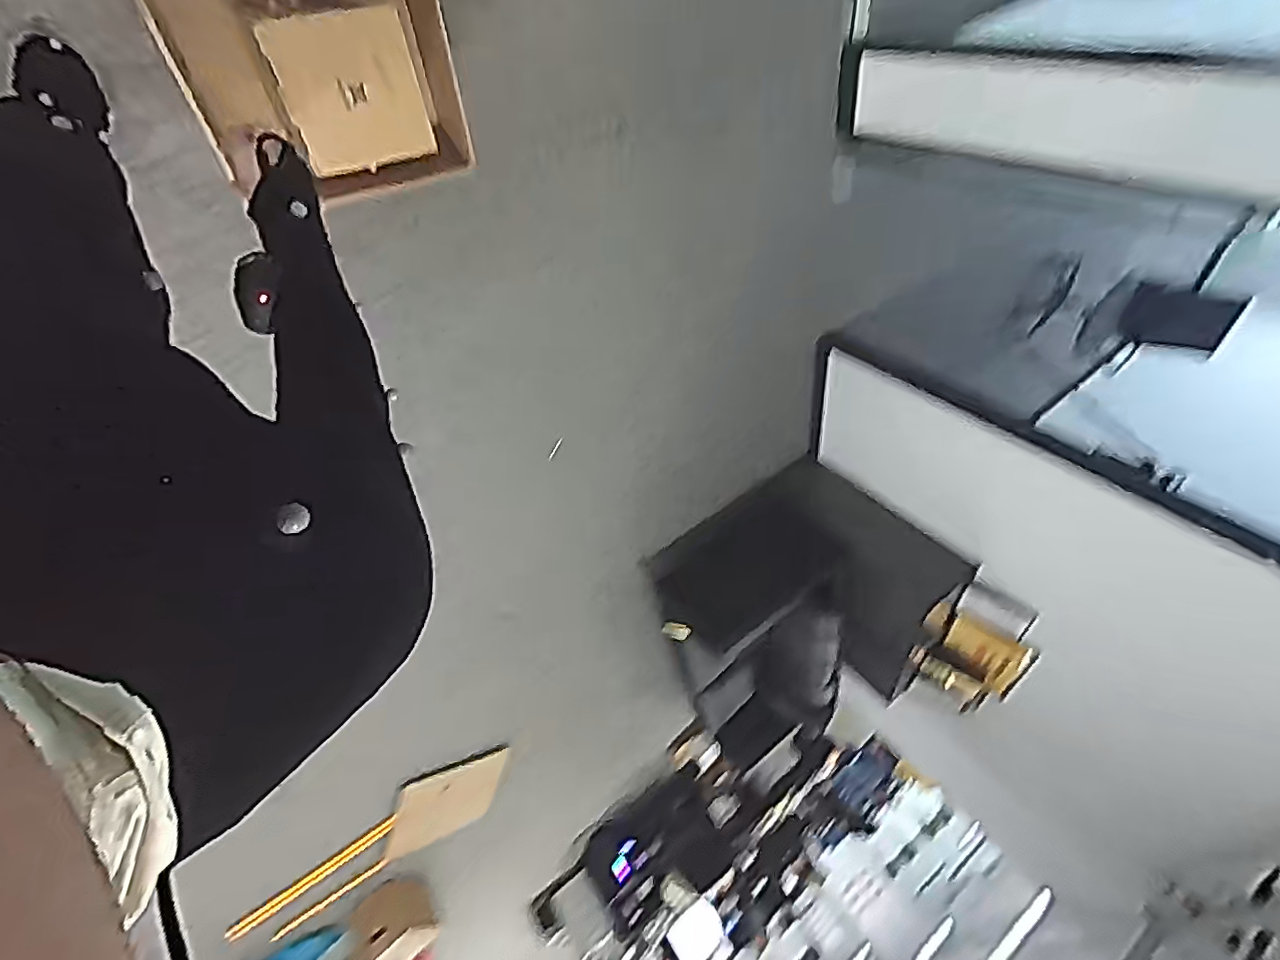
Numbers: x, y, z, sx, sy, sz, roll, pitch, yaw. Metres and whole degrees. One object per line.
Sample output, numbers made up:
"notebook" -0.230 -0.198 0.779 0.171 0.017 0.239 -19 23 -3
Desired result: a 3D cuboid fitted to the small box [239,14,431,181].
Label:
"small box" -0.428 -0.541 0.760 0.179 0.176 0.168 -28 139 -23
